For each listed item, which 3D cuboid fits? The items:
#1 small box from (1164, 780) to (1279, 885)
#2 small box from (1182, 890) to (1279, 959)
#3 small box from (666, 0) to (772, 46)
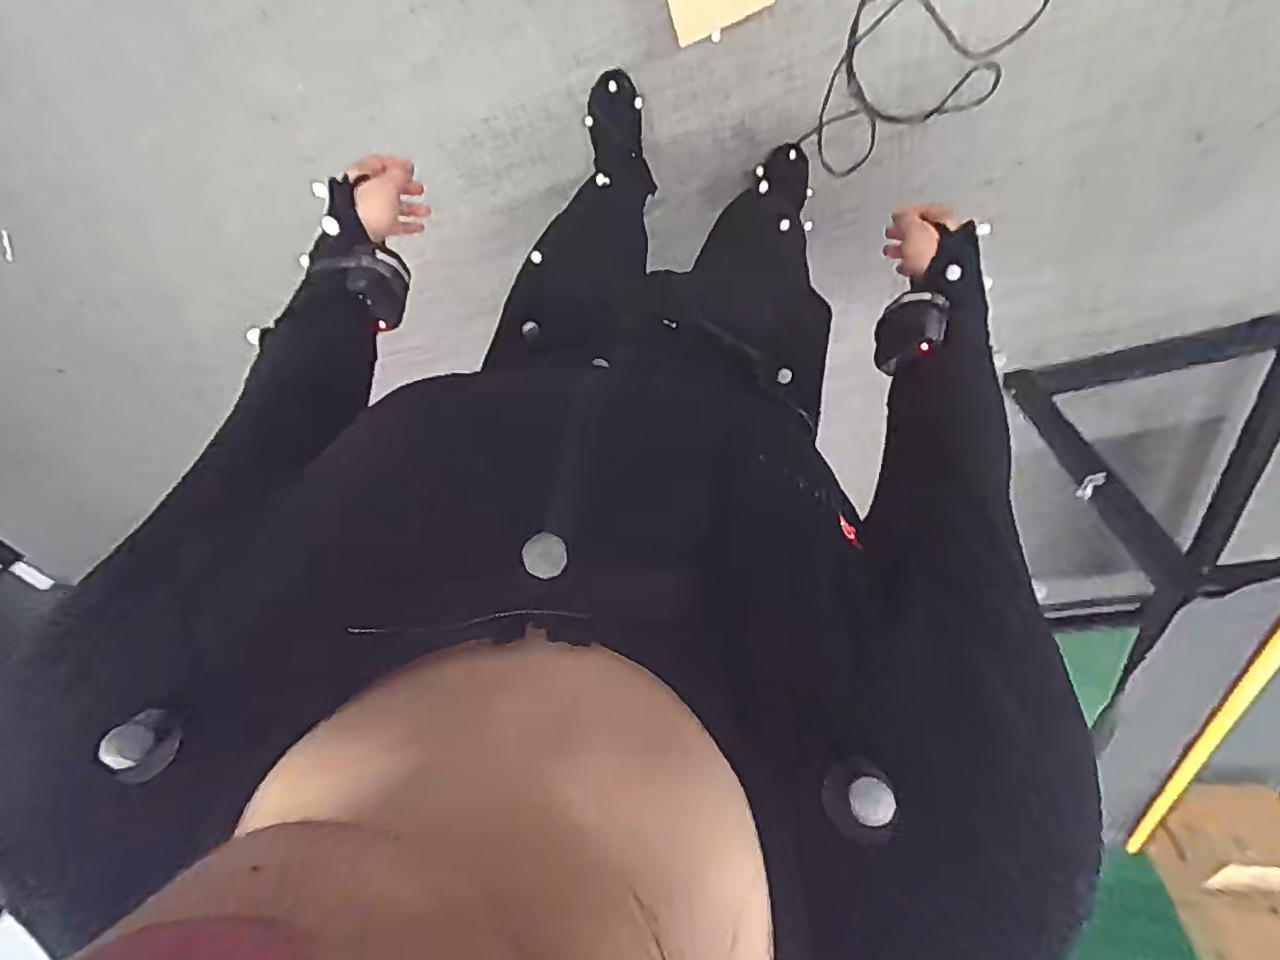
[{"bbox_3d":[1.401,0.822,1.269,0.179,0.176,0.168,-9,130,15],"label":"small box"},{"bbox_3d":[1.459,1.098,1.284,0.168,0.176,0.179,-7,130,14],"label":"small box"},{"bbox_3d":[0.119,-0.872,0.903,0.168,0.176,0.179,-13,128,19],"label":"small box"}]
